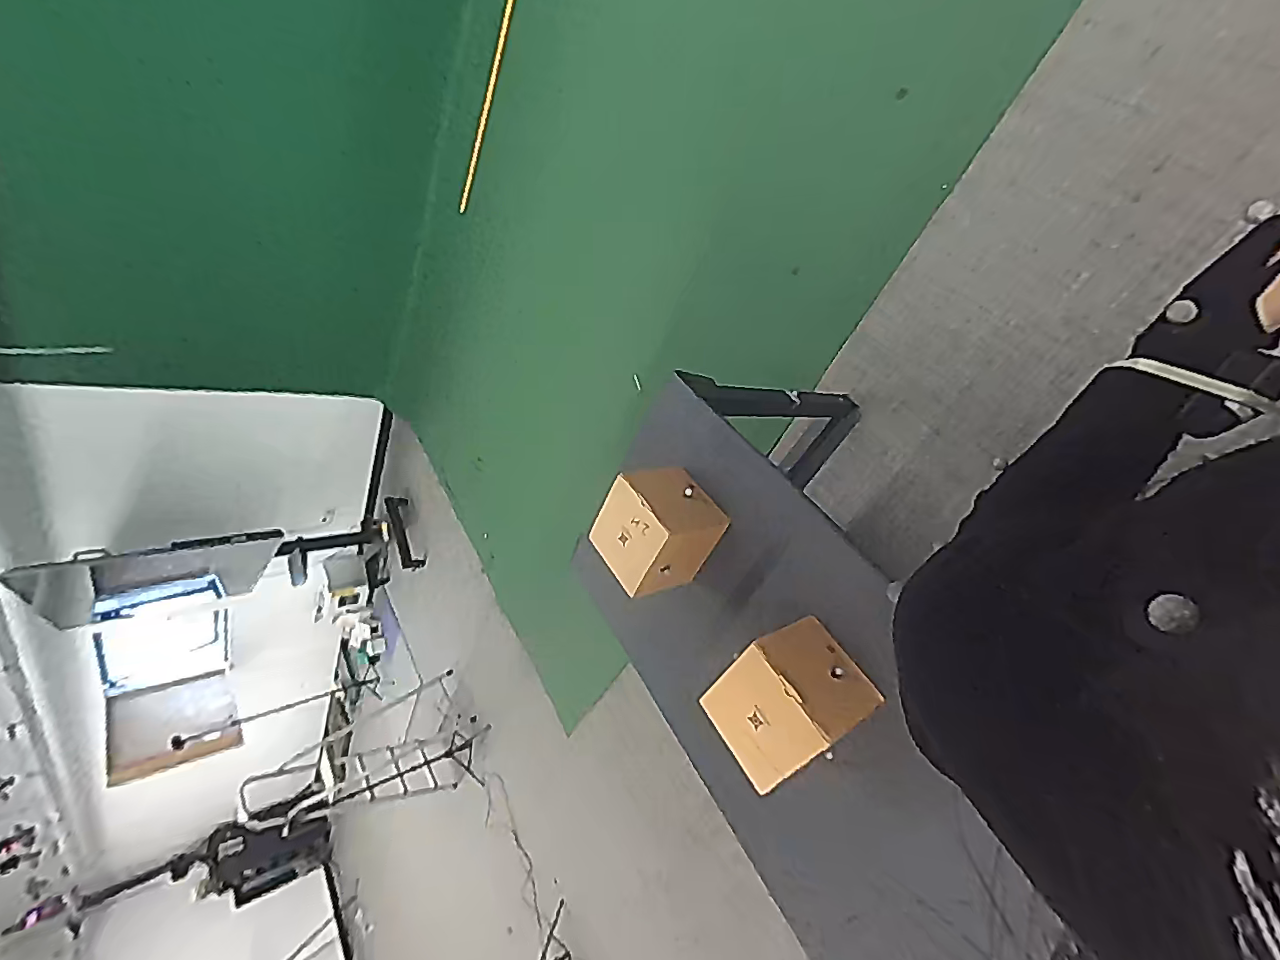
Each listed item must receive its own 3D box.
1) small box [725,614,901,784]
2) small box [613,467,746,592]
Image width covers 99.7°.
[{"bbox_3d":[0.276,0.344,0.868,0.168,0.176,0.179,53,131,33],"label":"small box"},{"bbox_3d":[0.079,0.092,1.069,0.168,0.176,0.179,50,130,33],"label":"small box"}]
